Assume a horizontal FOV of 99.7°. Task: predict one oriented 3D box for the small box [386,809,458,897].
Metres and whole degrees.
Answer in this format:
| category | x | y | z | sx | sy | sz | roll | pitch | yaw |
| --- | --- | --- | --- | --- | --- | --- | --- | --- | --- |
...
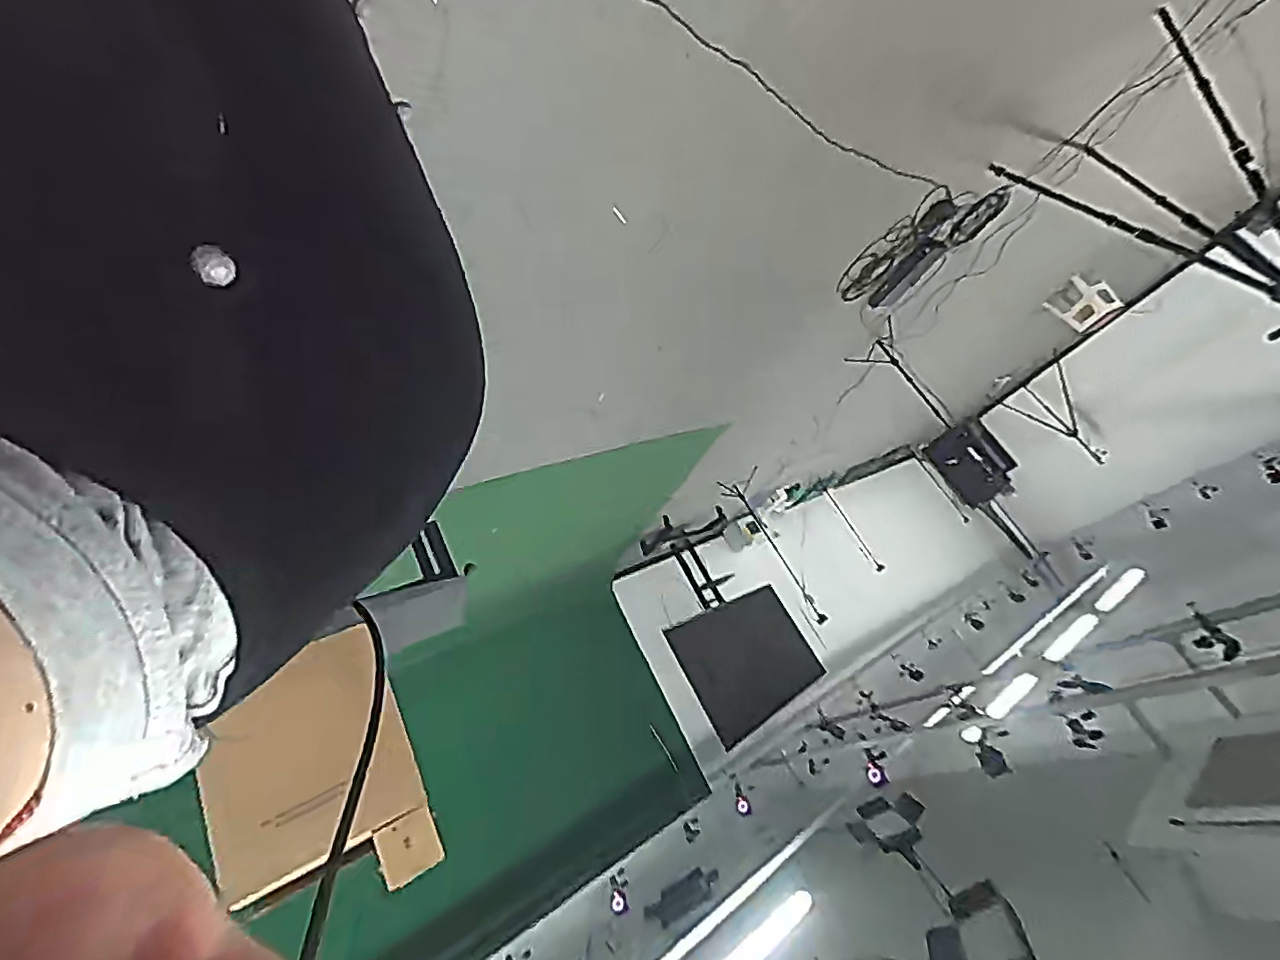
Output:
| category | x | y | z | sx | sy | sz | roll | pitch | yaw |
| --- | --- | --- | --- | --- | --- | --- | --- | --- | --- |
| small box | -0.688 | 1.167 | 1.701 | 0.168 | 0.176 | 0.179 | -19 | 157 | -30 |
